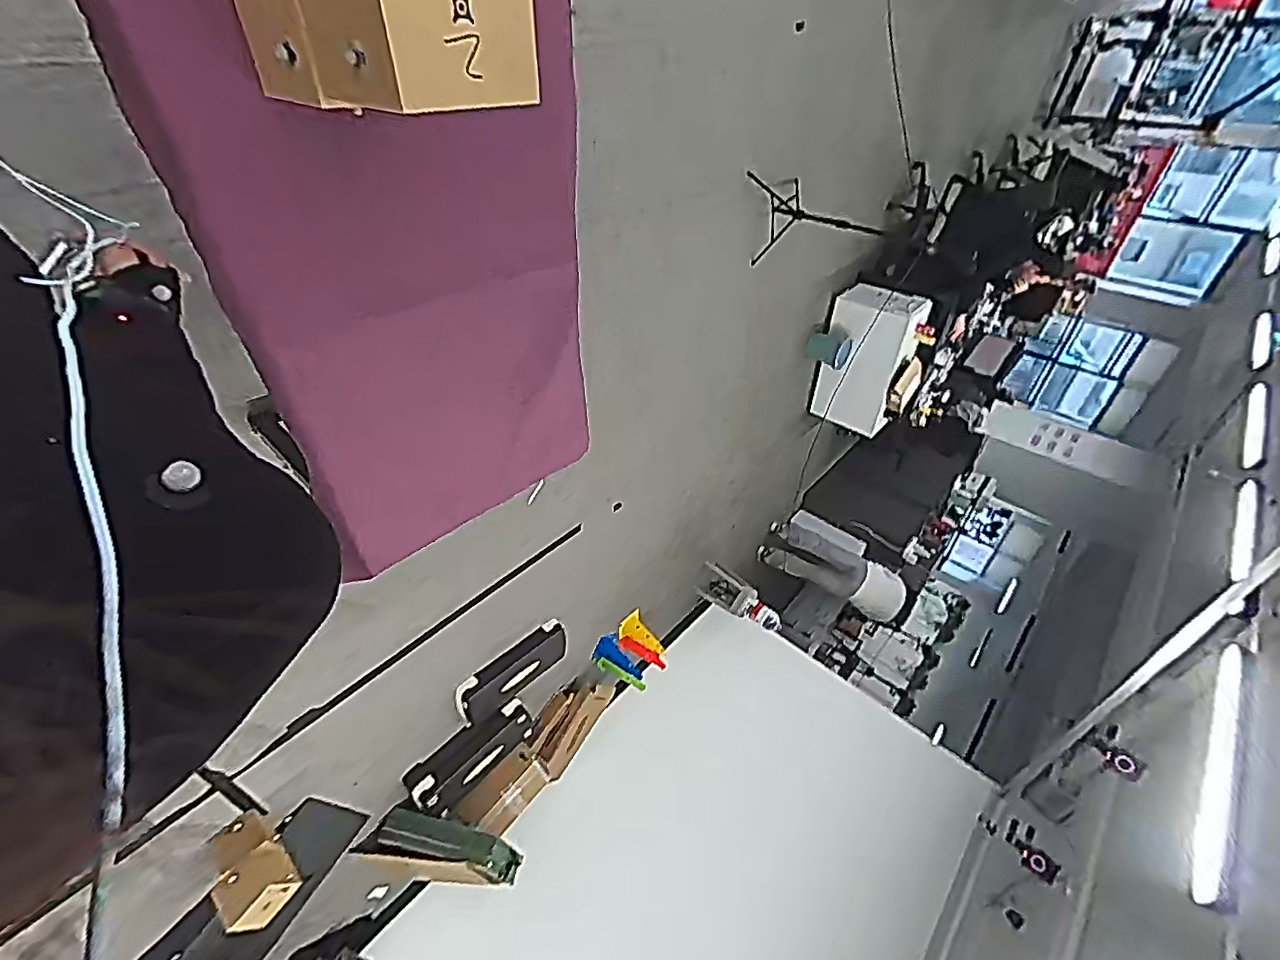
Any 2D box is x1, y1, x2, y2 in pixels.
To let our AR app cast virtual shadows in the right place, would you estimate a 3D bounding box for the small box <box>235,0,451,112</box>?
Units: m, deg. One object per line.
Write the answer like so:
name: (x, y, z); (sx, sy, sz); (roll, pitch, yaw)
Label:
small box: (-0.348, -0.543, 0.625); (0.168, 0.176, 0.179); (-33, 141, -36)
